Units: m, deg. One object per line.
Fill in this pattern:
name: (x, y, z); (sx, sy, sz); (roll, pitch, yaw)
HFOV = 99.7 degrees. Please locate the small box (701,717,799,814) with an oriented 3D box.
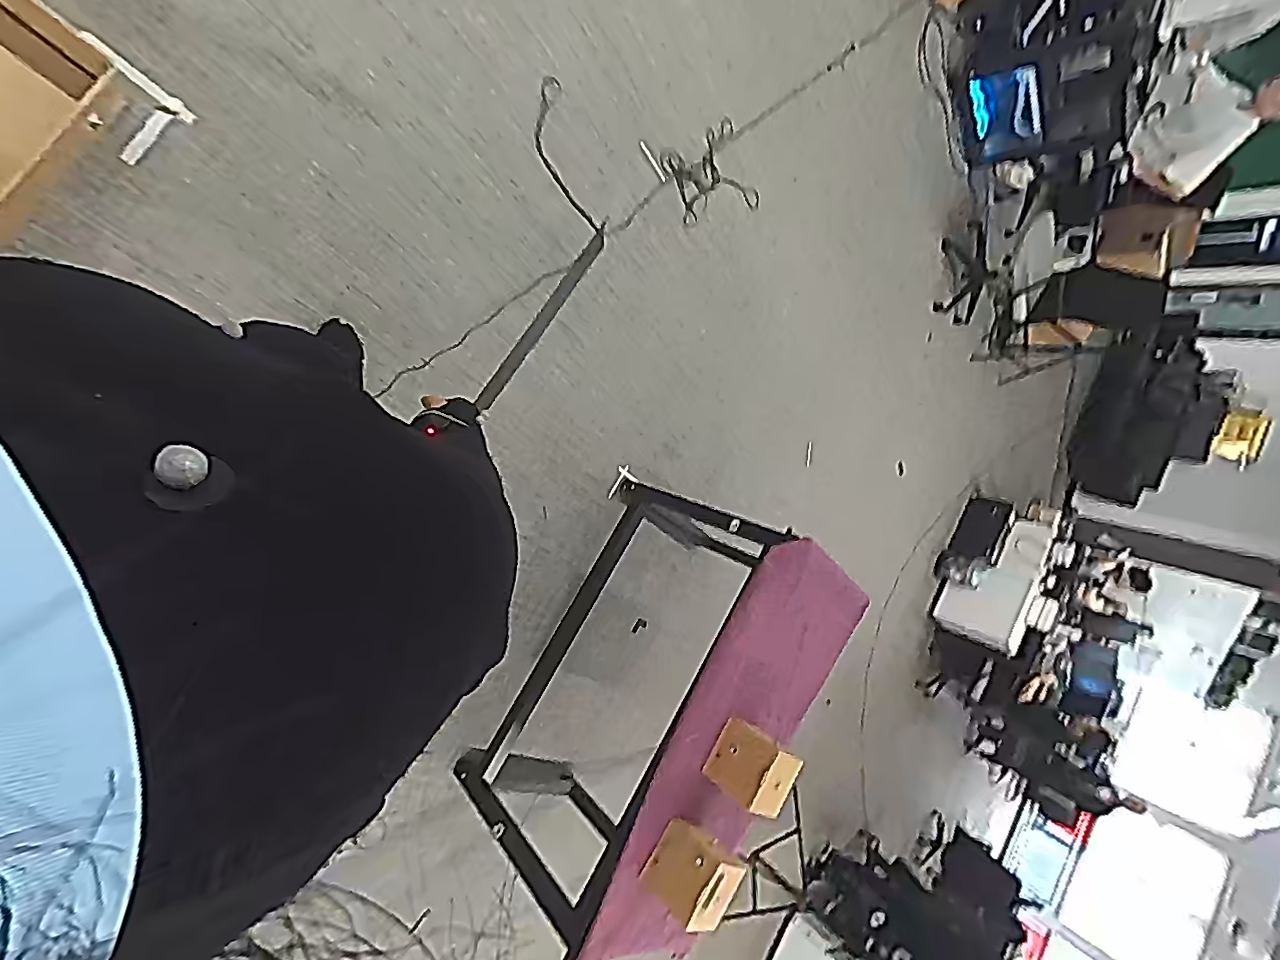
small box: (0.303, 0.784, 1.492); (0.179, 0.176, 0.168); (42, 75, -41)
